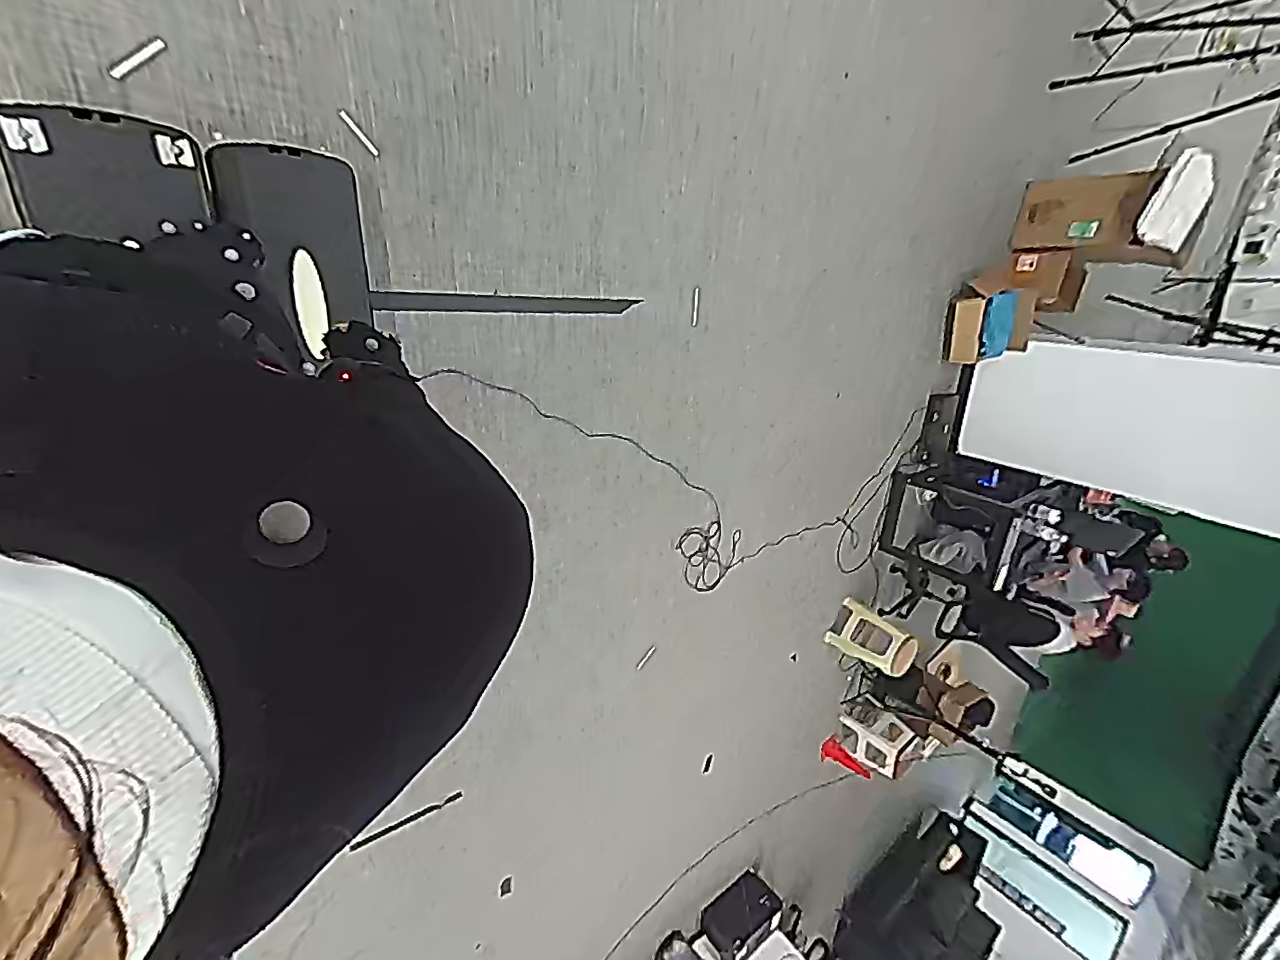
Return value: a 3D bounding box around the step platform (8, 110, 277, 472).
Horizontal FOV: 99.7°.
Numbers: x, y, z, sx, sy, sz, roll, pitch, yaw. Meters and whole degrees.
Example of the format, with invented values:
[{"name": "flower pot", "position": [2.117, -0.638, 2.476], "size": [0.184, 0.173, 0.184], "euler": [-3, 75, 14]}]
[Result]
[{"name": "step platform", "position": [-0.992, -0.358, 1.130], "size": [0.286, 0.204, 0.684], "euler": [-15, 115, -36]}]
